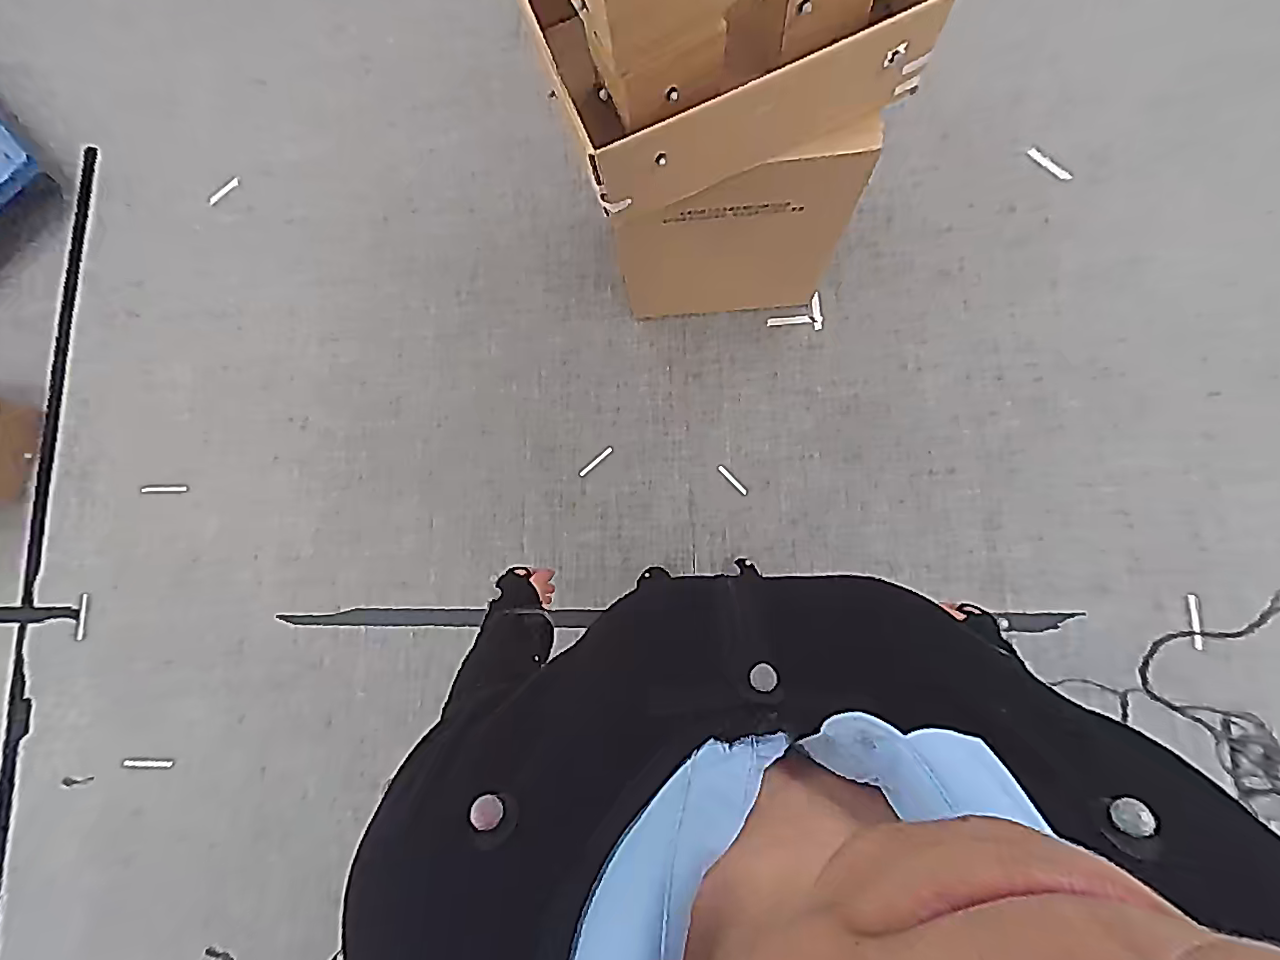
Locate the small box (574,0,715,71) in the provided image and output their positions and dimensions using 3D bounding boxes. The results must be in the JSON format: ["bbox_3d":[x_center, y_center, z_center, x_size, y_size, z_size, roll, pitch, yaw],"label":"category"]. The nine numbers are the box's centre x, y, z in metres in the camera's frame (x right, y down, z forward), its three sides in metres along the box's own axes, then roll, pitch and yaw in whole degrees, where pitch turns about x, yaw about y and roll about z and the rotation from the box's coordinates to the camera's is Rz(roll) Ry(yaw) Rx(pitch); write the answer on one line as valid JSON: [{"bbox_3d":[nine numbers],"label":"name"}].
[{"bbox_3d":[0.000,-0.724,0.739,0.179,0.176,0.168,-27,81,1],"label":"small box"}]
